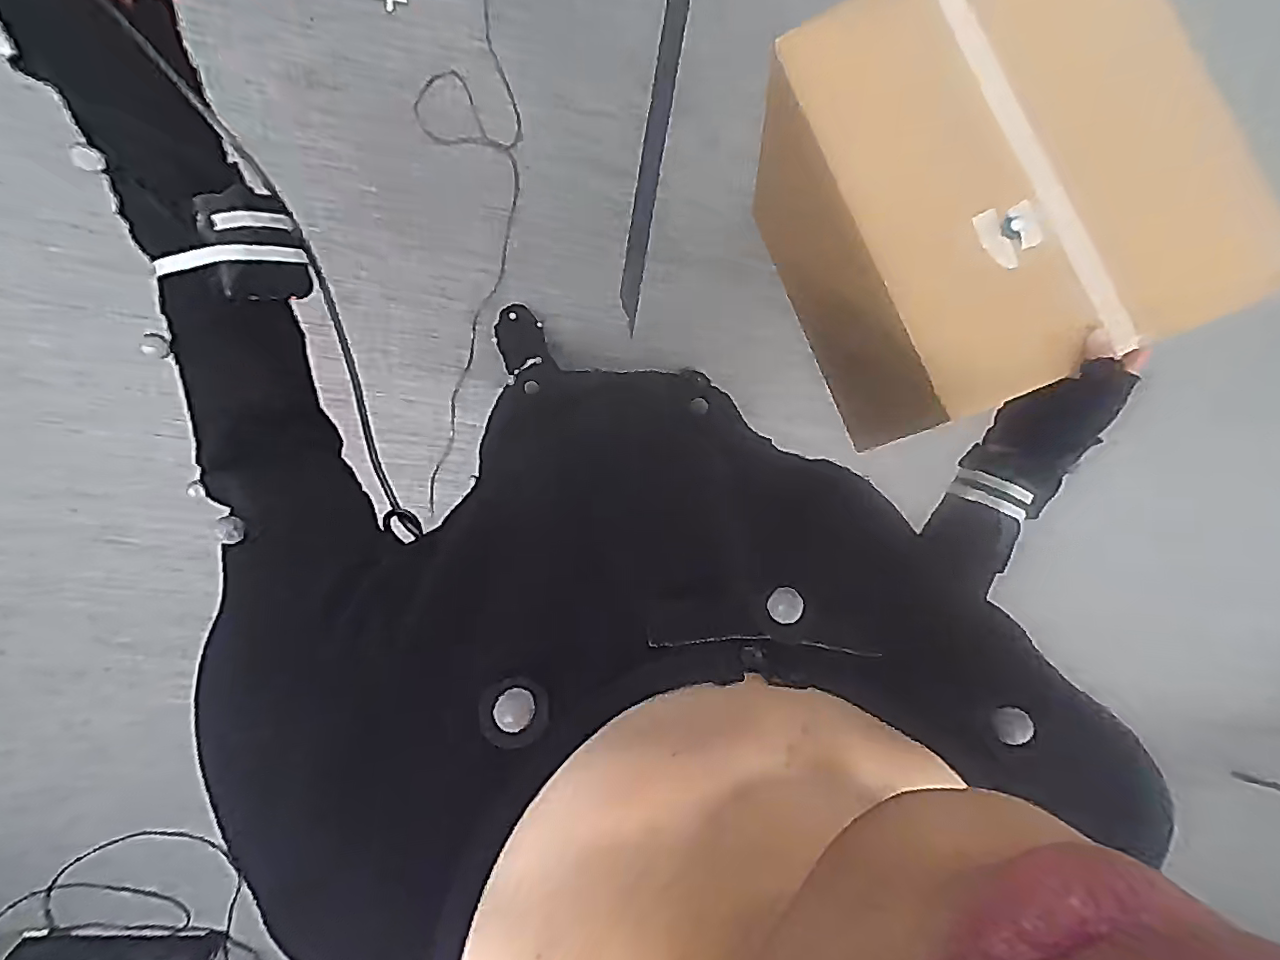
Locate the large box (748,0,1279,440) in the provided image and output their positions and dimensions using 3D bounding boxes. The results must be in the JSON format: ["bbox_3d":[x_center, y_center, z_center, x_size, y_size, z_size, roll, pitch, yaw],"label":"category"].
[{"bbox_3d":[0.357,-0.300,0.643,0.320,0.320,0.408,-23,85,7],"label":"large box"}]
